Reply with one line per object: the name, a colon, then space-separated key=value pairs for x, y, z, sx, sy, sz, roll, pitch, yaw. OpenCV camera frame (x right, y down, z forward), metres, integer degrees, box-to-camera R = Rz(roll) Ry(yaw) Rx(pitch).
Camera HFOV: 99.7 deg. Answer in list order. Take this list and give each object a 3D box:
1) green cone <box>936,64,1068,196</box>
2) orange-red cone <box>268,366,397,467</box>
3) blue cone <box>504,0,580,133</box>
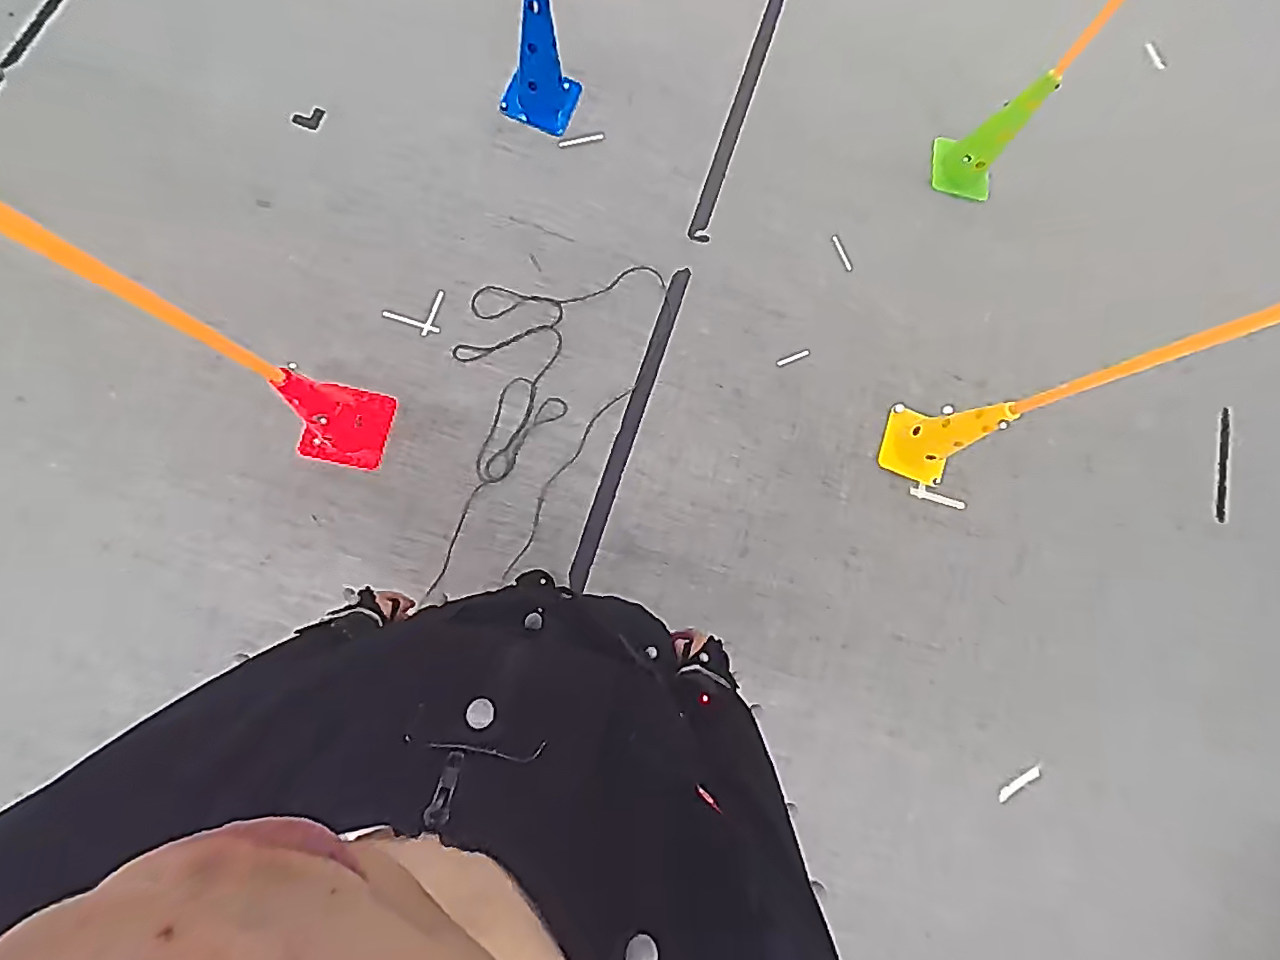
green cone: x=1.085 y=-1.059 z=1.599 sx=0.200 sy=0.368 sz=0.202 roll=8 pitch=81 yaw=-6
orange-red cone: x=-0.709 y=-0.172 z=1.194 sx=0.199 sy=0.360 sz=0.198 roll=14 pitch=79 yaw=-6
blue cone: x=-0.268 y=-1.161 z=1.444 sx=0.193 sy=0.380 sz=0.192 roll=21 pitch=79 yaw=-3
